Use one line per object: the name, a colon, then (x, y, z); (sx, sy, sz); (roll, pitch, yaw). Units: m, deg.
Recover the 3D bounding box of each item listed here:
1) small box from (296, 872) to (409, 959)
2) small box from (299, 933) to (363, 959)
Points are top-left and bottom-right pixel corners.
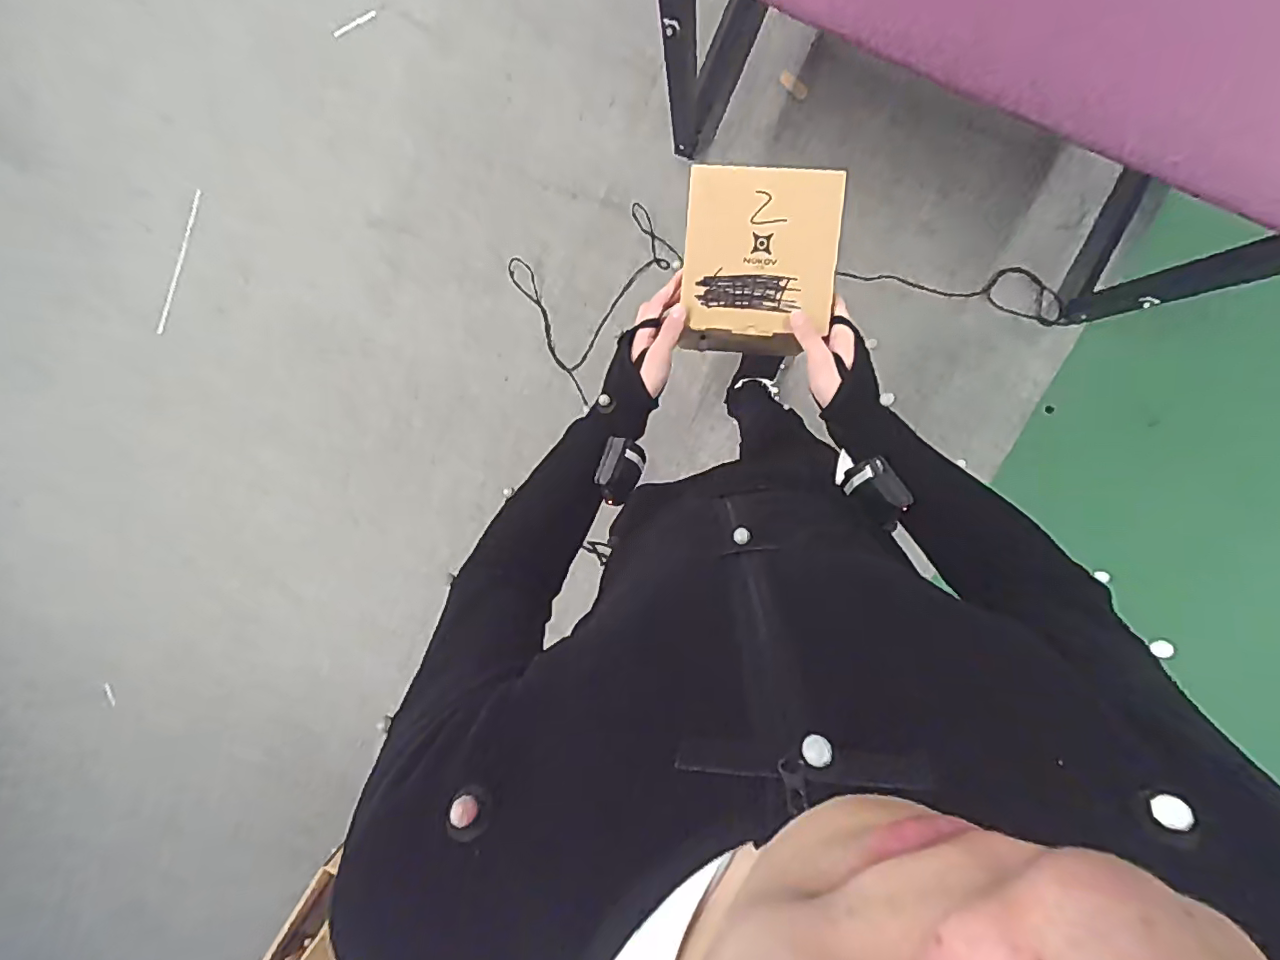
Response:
small box: (-0.710, 1.137, 1.338); (0.168, 0.176, 0.179); (37, 99, 0)
small box: (-0.722, 1.160, 1.177); (0.168, 0.176, 0.179); (36, 99, 0)
